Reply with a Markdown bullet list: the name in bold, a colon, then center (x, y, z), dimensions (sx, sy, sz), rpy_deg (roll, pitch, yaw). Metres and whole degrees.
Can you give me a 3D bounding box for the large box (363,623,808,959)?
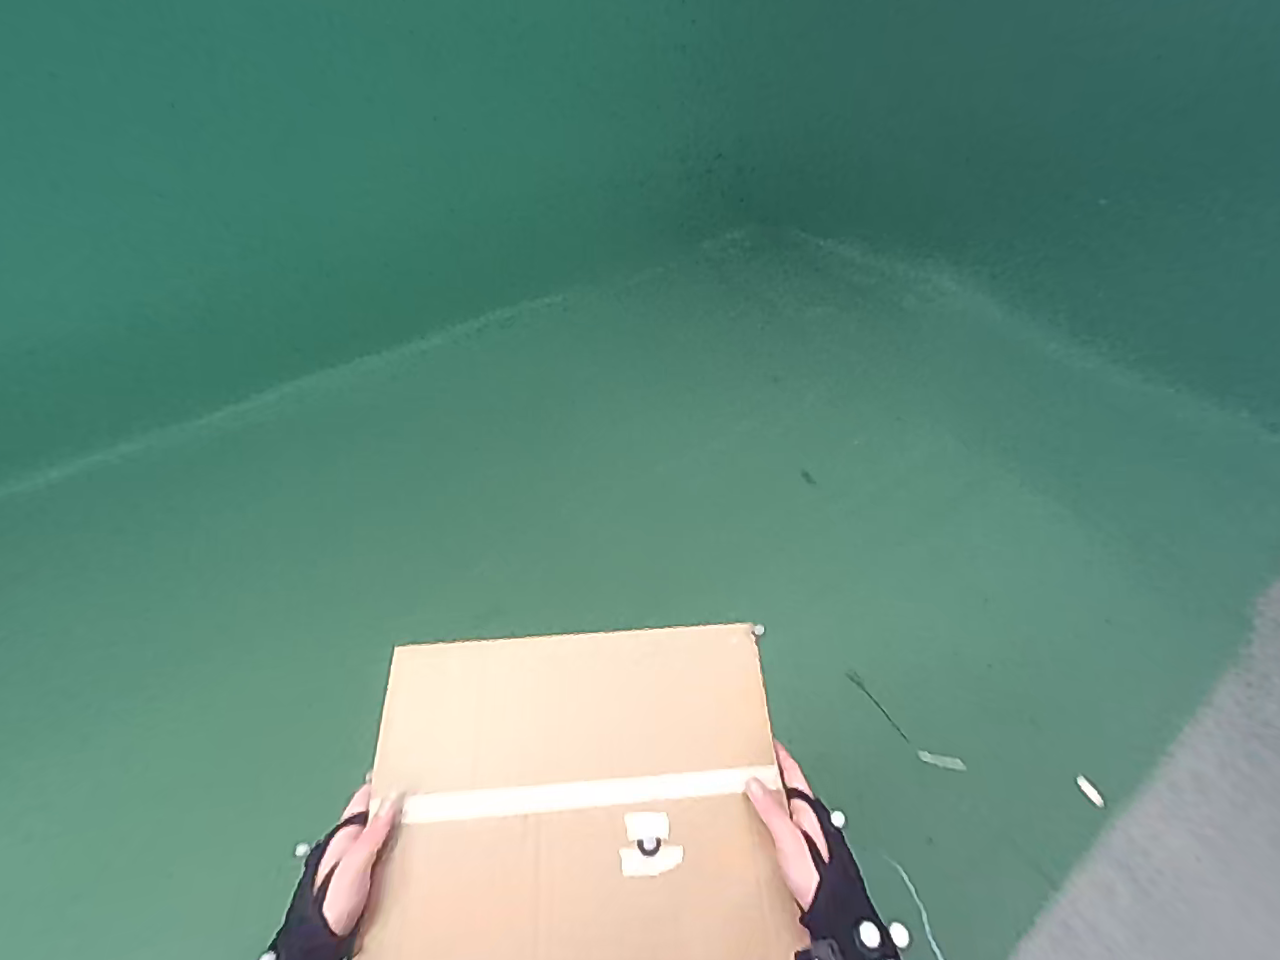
- **large box**: center (-0.060, 0.384, 0.675), dimensions (0.408, 0.320, 0.320), rpy_deg (-2, 60, -3)
